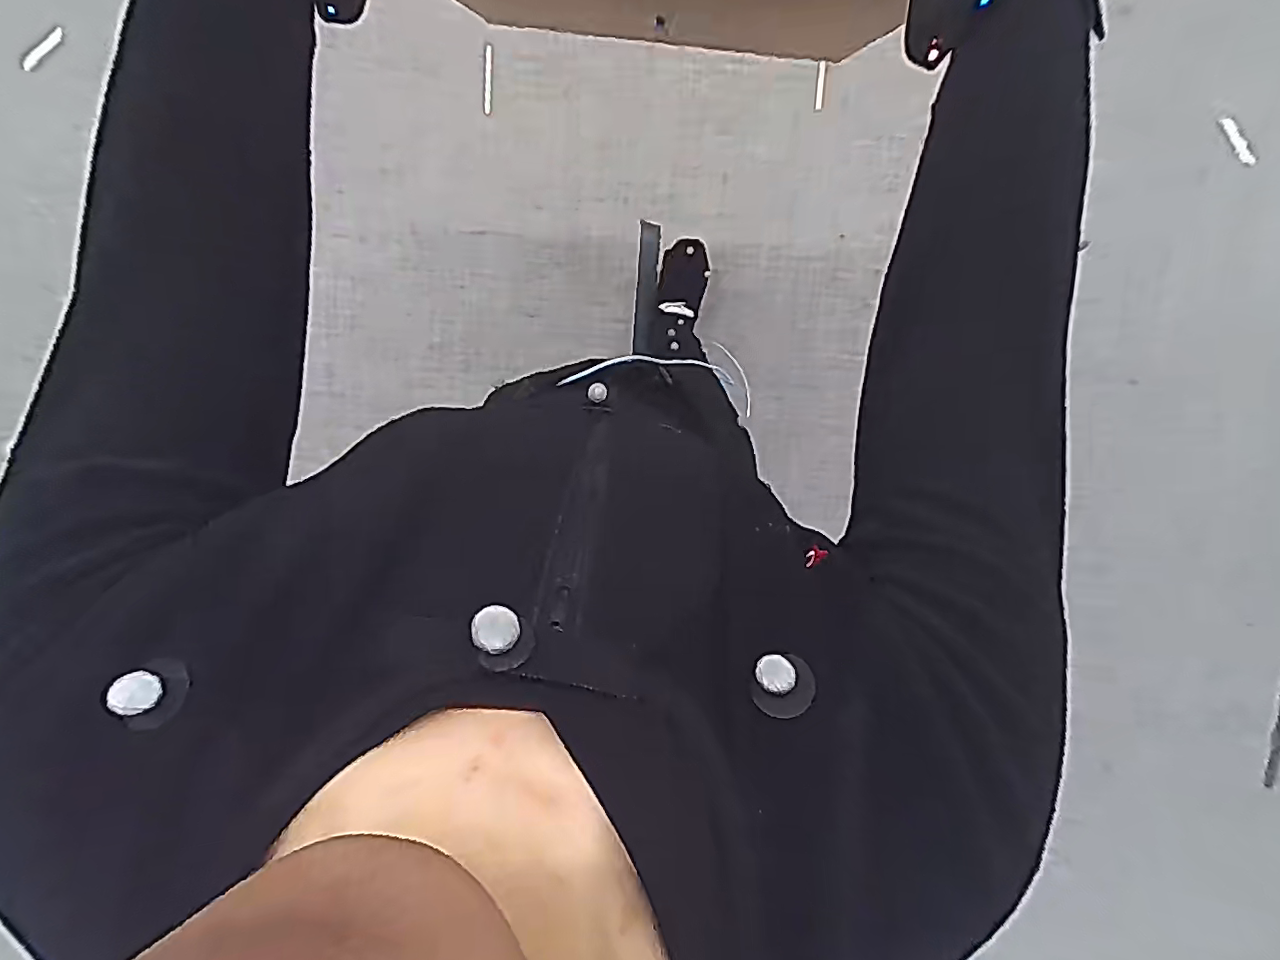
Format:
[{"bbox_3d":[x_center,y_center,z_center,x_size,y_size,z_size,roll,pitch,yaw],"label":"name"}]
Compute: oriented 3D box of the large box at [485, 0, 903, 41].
[{"bbox_3d":[0.038,-0.562,0.409,0.408,0.320,0.320,6,120,1],"label":"large box"}]
